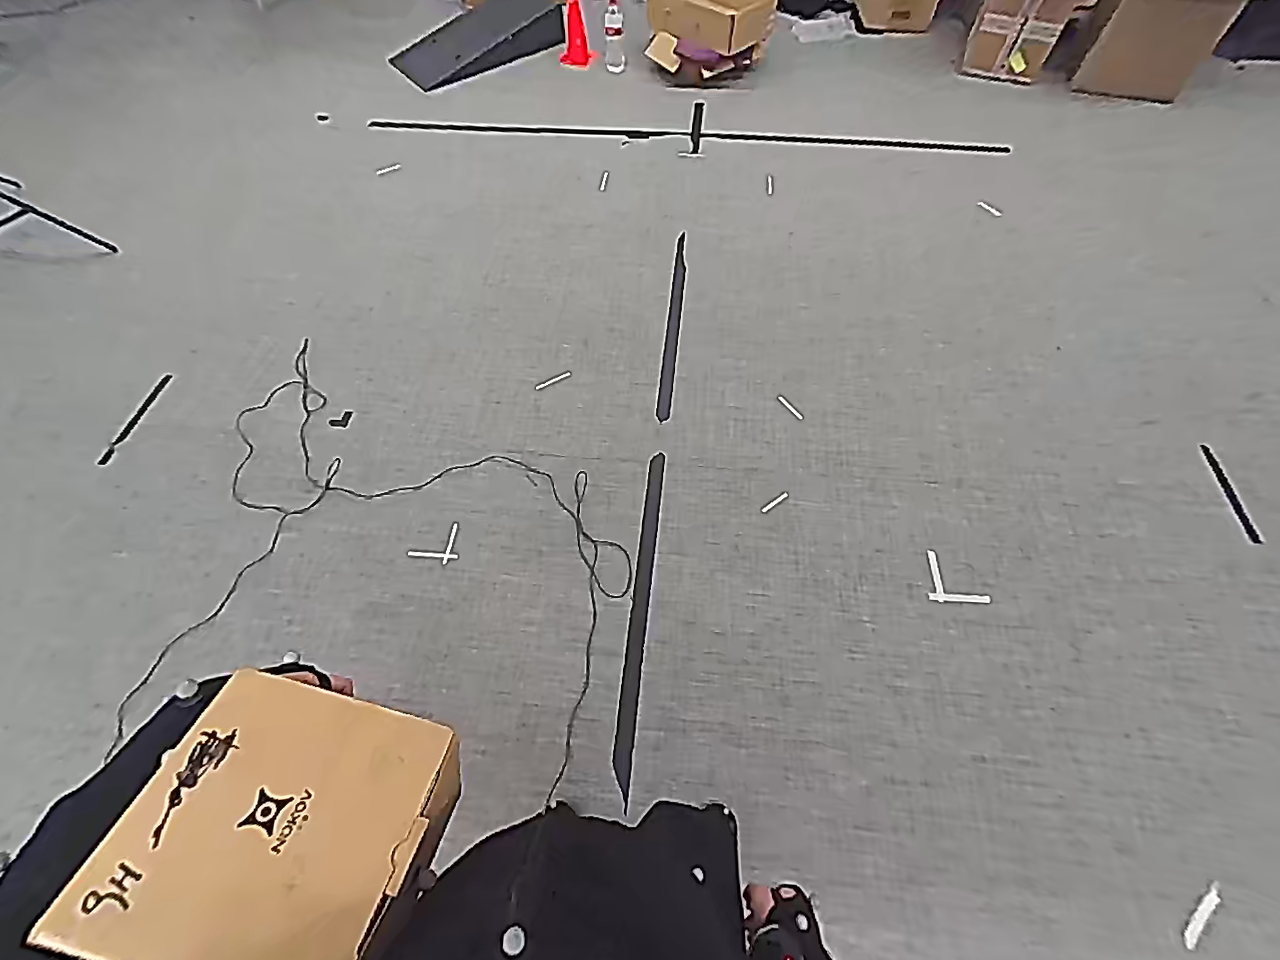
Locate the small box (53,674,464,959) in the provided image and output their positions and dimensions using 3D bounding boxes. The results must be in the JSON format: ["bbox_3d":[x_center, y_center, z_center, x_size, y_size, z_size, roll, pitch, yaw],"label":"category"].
[{"bbox_3d":[-0.253,0.283,0.419,0.179,0.176,0.168,17,44,-1],"label":"small box"}]
